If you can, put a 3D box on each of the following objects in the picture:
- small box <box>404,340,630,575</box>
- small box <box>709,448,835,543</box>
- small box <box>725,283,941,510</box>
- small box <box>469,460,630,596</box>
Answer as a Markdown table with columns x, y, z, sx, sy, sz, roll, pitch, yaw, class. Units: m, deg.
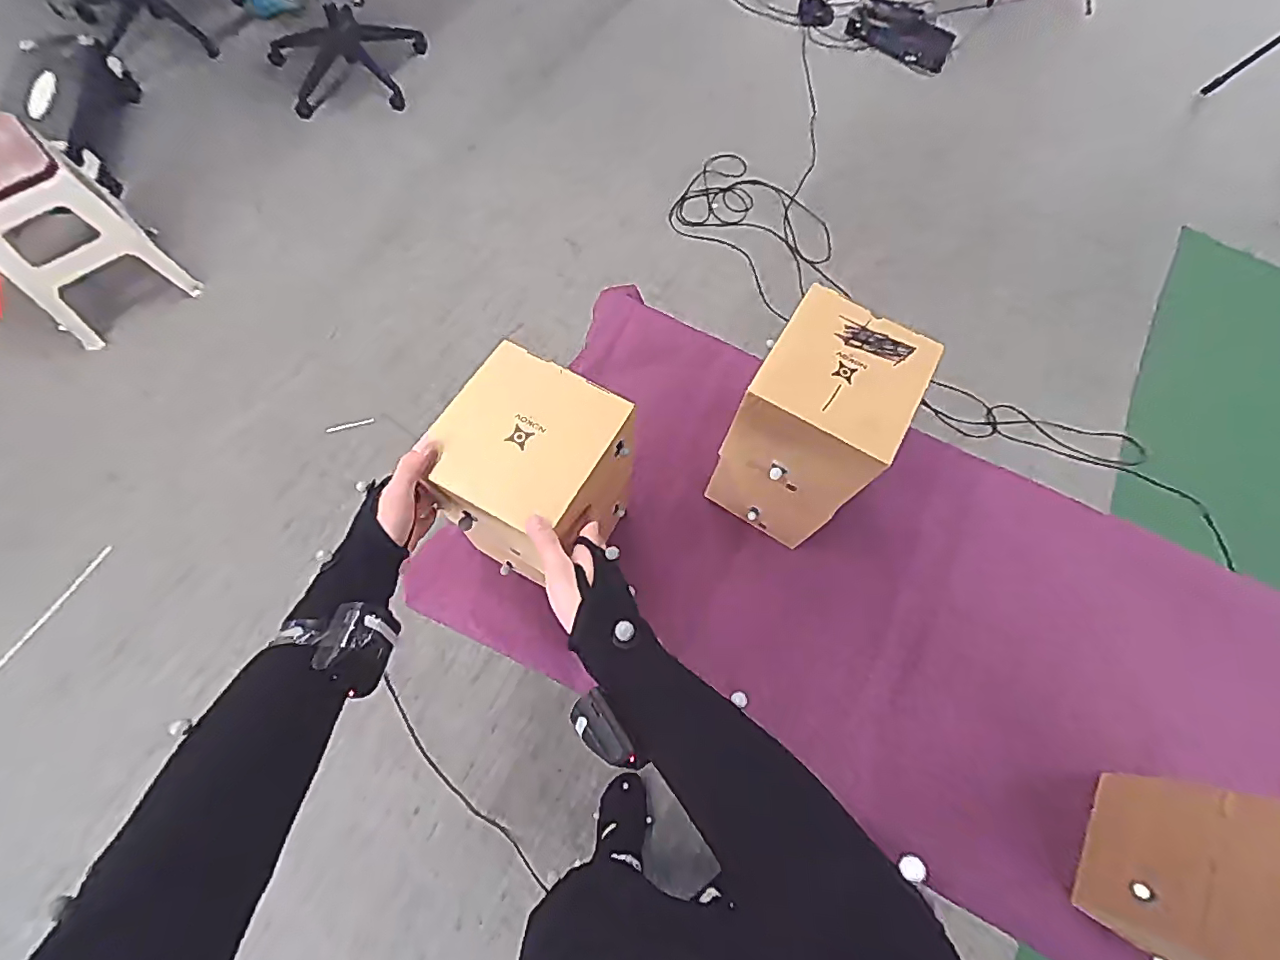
| x | y | z | sx | sy | sz | roll | pitch | yaw | class |
| --- | --- | --- | --- | --- | --- | --- | --- | --- | --- |
| -0.121 | -0.015 | 0.613 | 0.168 | 0.176 | 0.179 | 27 | 68 | 9 | small box |
| 0.220 | -0.033 | 0.812 | 0.168 | 0.176 | 0.179 | 32 | 71 | 10 | small box |
| 0.220 | -0.092 | 0.659 | 0.168 | 0.176 | 0.179 | 30 | 70 | 9 | small box |
| -0.129 | 0.039 | 0.765 | 0.168 | 0.176 | 0.179 | 27 | 69 | 9 | small box |
